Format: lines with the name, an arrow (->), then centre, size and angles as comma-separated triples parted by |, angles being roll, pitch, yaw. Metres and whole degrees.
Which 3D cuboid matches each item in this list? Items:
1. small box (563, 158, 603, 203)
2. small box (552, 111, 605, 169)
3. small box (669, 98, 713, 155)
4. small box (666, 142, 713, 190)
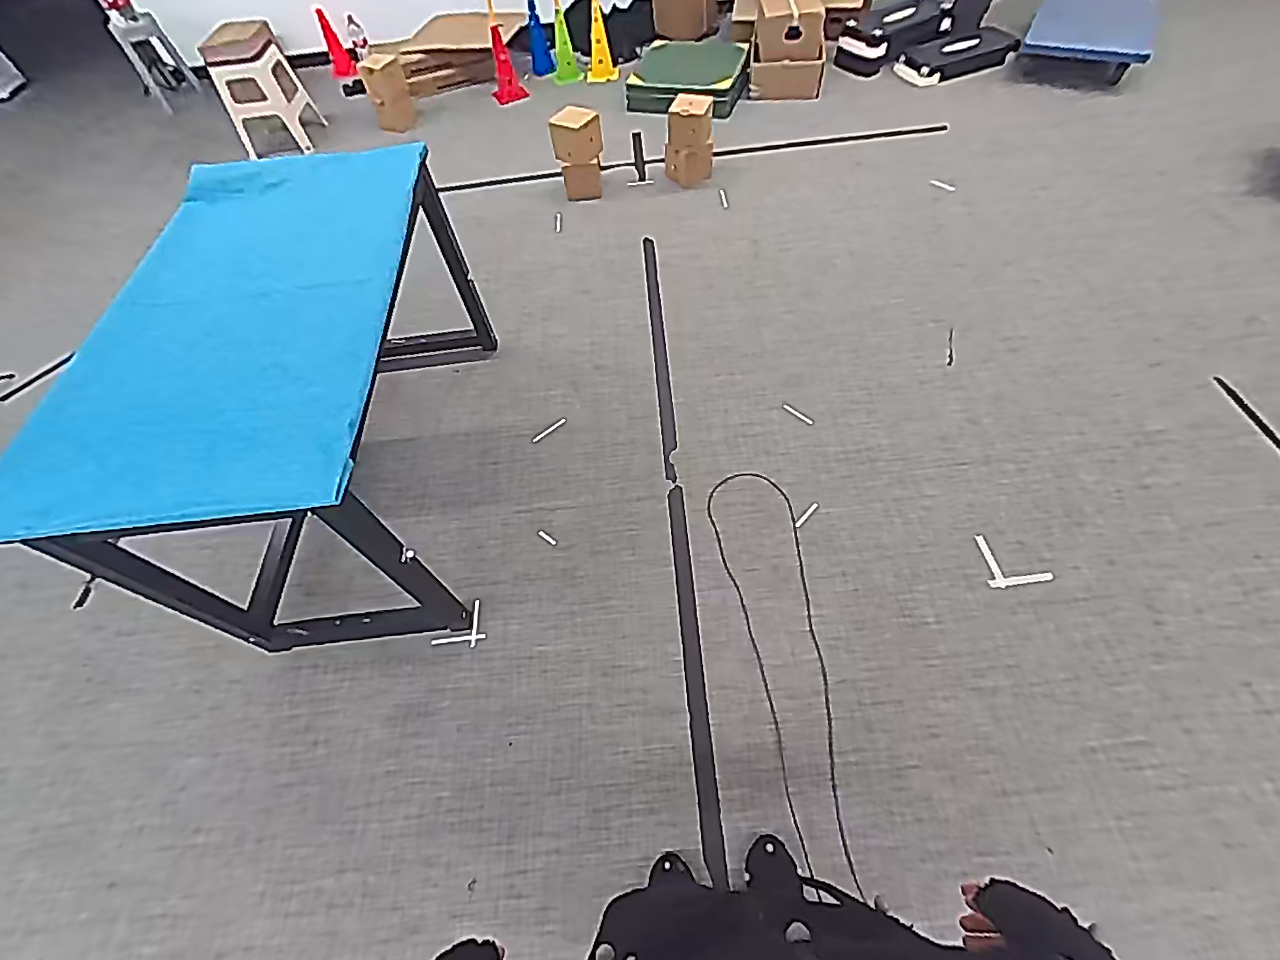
small box -> -0.276, -1.496, 2.668 | 0.179, 0.176, 0.168 | -5, 56, 3
small box -> -0.290, -1.599, 2.535 | 0.179, 0.176, 0.168 | 26, 62, 21
small box -> 0.239, -1.649, 2.525 | 0.168, 0.176, 0.179 | 15, 59, 12
small box -> 0.245, -1.568, 2.667 | 0.179, 0.176, 0.168 | -32, 61, -14
